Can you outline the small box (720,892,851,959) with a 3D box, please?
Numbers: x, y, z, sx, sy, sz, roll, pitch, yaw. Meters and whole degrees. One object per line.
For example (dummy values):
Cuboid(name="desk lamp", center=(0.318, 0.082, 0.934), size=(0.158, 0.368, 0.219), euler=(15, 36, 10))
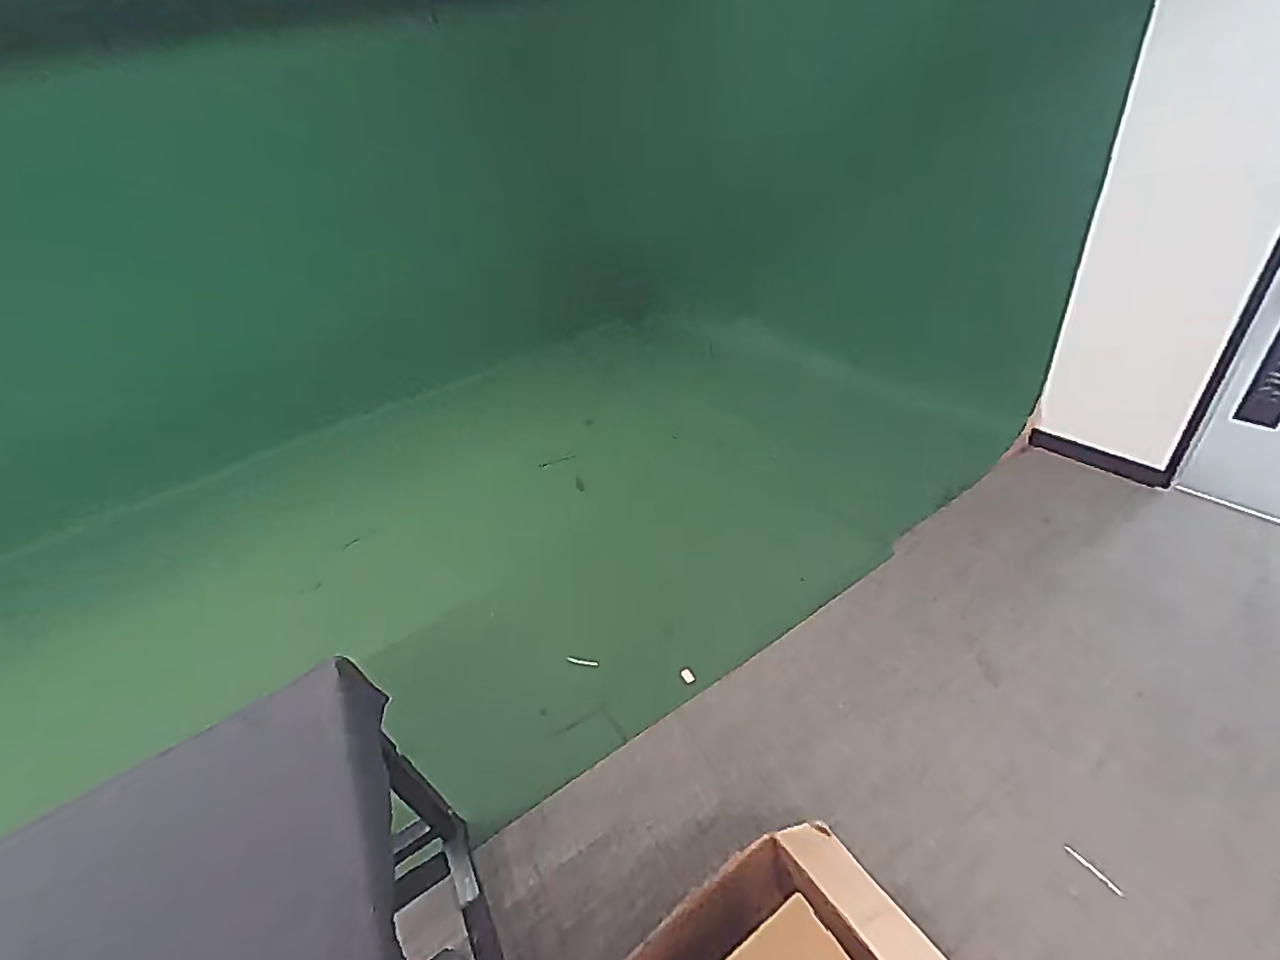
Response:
Cuboid(name="small box", center=(0.230, 0.778, 0.809), size=(0.179, 0.176, 0.168), euler=(-26, 39, -21))
